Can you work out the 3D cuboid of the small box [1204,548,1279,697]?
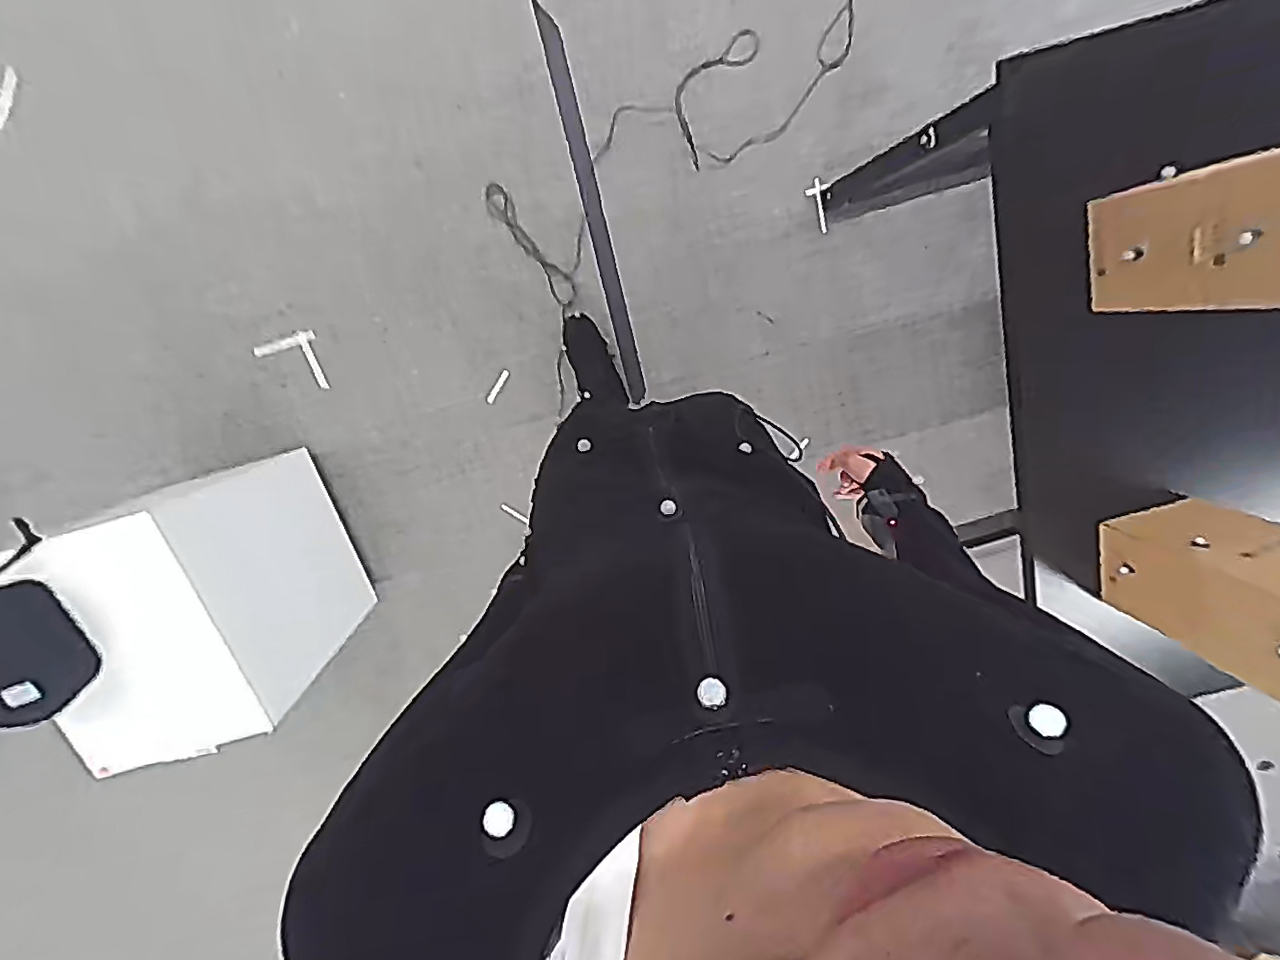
[{"bbox_3d":[0.936,0.203,0.742,0.168,0.176,0.179,-19,107,2],"label":"small box"}]

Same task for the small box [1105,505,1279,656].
[{"bbox_3d":[0.932,0.157,0.900,0.179,0.176,0.168,-16,106,1],"label":"small box"}]

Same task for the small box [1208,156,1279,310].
[{"bbox_3d":[0.797,-0.293,0.593,0.179,0.176,0.168,-16,105,1],"label":"small box"}]

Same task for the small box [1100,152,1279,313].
[{"bbox_3d":[0.786,-0.337,0.751,0.179,0.176,0.168,-17,106,2],"label":"small box"}]
